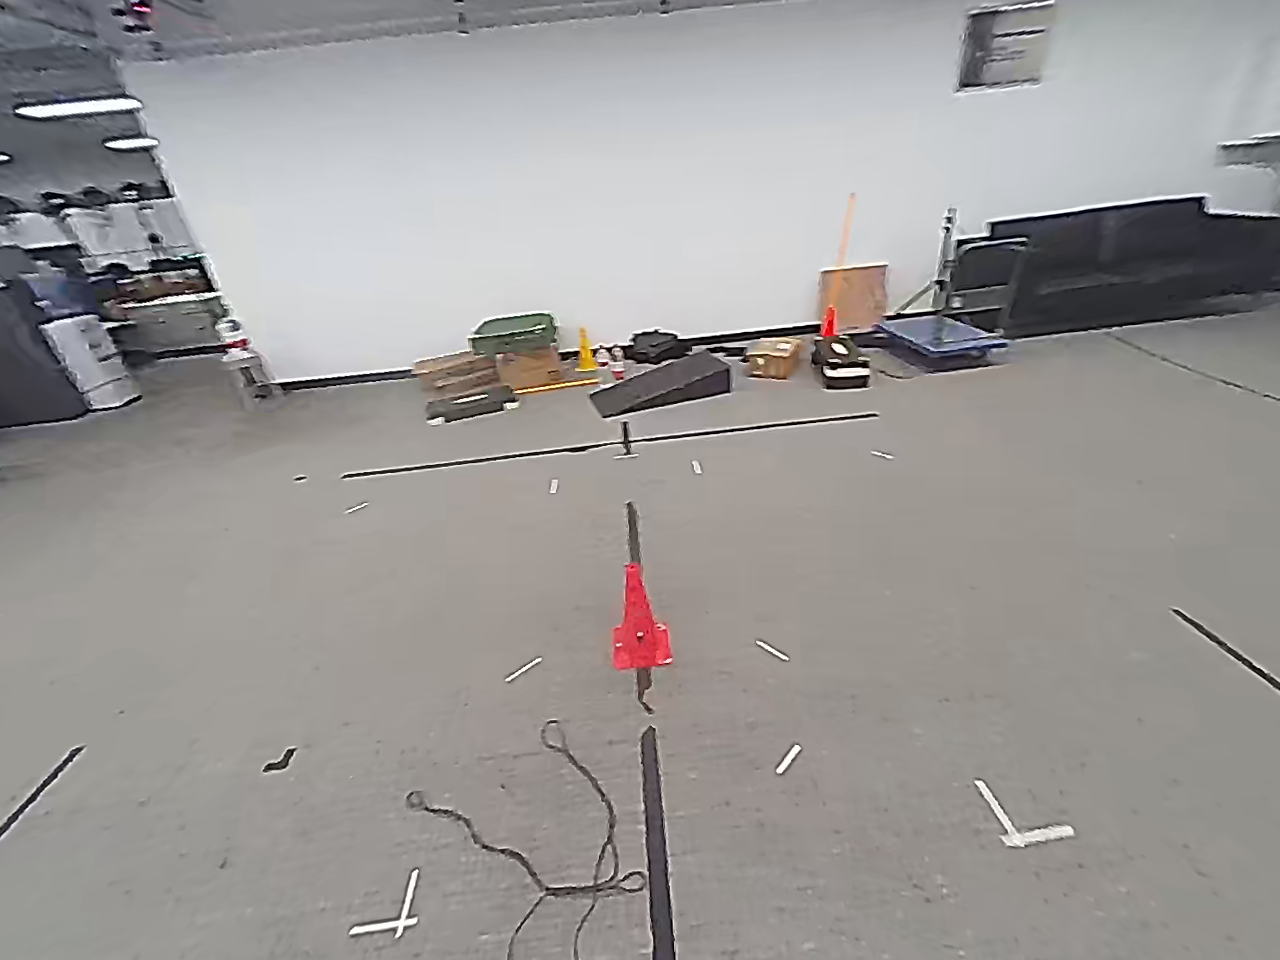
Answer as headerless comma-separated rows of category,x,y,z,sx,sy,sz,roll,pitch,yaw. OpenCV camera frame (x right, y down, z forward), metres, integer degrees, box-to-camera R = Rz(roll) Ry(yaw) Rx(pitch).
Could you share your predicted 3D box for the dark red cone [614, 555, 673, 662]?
dark red cone,-0.008,0.414,1.821,0.201,0.394,0.202,-7,30,0
